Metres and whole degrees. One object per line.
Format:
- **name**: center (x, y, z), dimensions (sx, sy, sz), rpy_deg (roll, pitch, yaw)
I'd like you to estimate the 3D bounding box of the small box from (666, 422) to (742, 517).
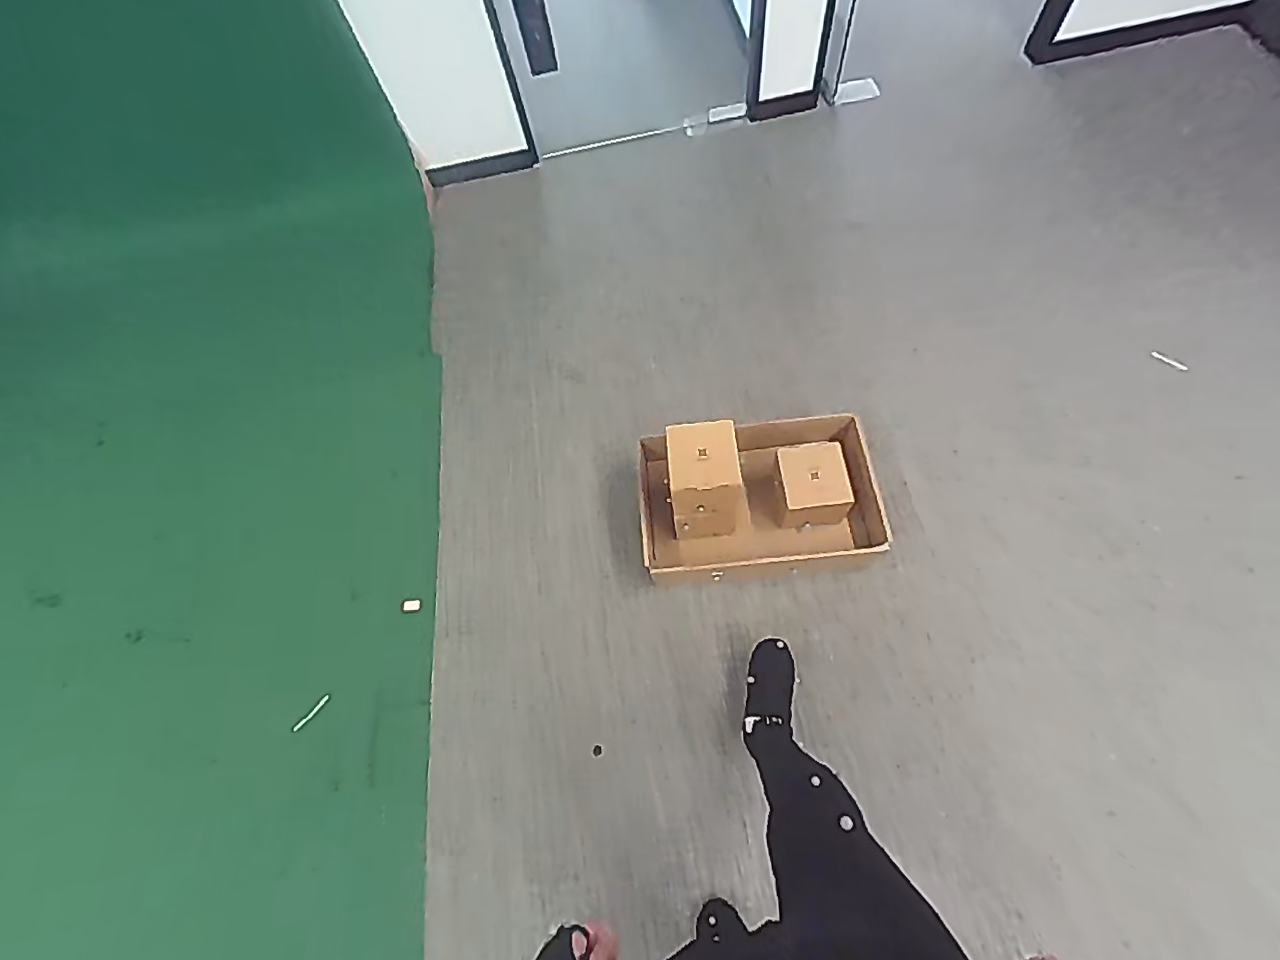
- **small box**: center (0.153, -0.023, 1.336), dimensions (0.168, 0.176, 0.179), rpy_deg (-5, 64, 3)
